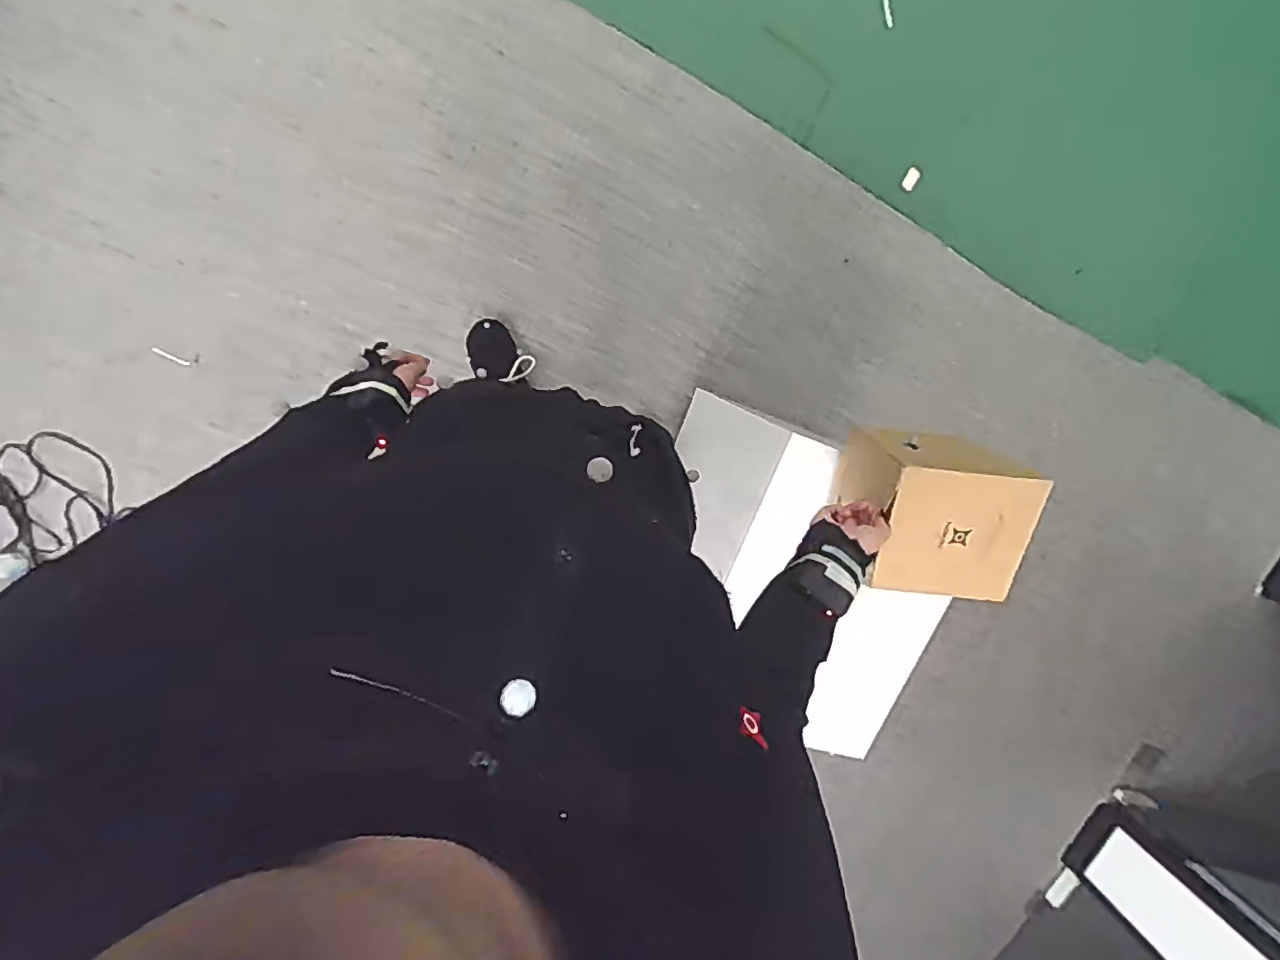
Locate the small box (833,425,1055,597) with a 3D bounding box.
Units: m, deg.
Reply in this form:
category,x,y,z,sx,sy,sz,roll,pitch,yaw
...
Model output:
category,x,y,z,sx,sy,sz,roll,pitch,yaw
small box,0.373,0.032,0.706,0.179,0.176,0.168,4,113,-2
